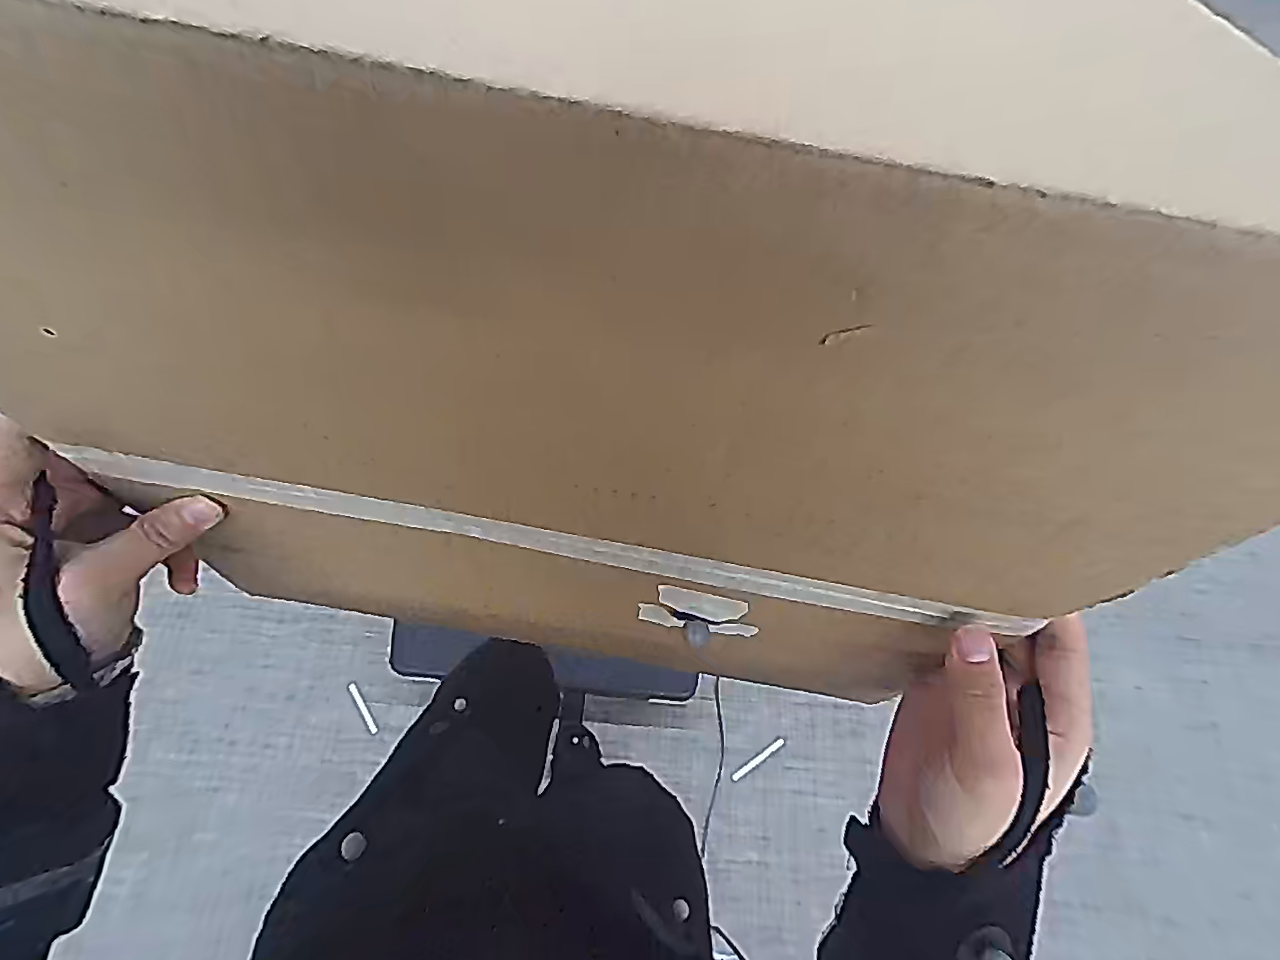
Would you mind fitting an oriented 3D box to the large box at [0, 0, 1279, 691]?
[{"bbox_3d":[-0.013,-0.100,0.314,0.408,0.320,0.320,10,57,-1],"label":"large box"}]
